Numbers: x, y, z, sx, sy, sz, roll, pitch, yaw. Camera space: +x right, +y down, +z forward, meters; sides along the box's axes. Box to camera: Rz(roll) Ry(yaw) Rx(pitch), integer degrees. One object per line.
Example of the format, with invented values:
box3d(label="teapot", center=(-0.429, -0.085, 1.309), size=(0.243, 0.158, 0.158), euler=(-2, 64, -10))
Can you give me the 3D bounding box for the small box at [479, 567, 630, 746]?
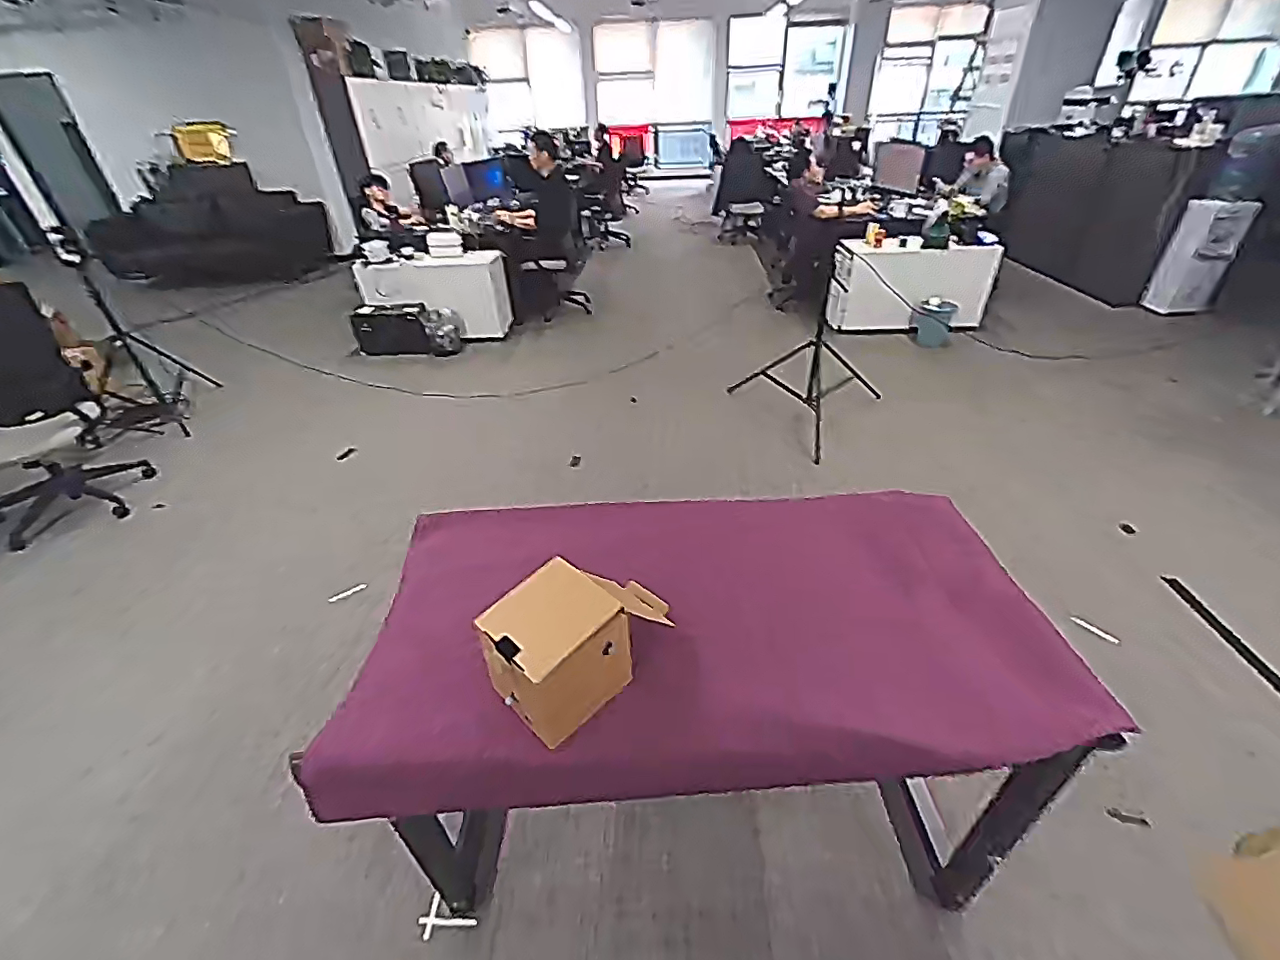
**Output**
box3d(label="small box", center=(-0.131, 0.281, 0.877), size=(0.179, 0.176, 0.168), euler=(-31, 42, -34))
